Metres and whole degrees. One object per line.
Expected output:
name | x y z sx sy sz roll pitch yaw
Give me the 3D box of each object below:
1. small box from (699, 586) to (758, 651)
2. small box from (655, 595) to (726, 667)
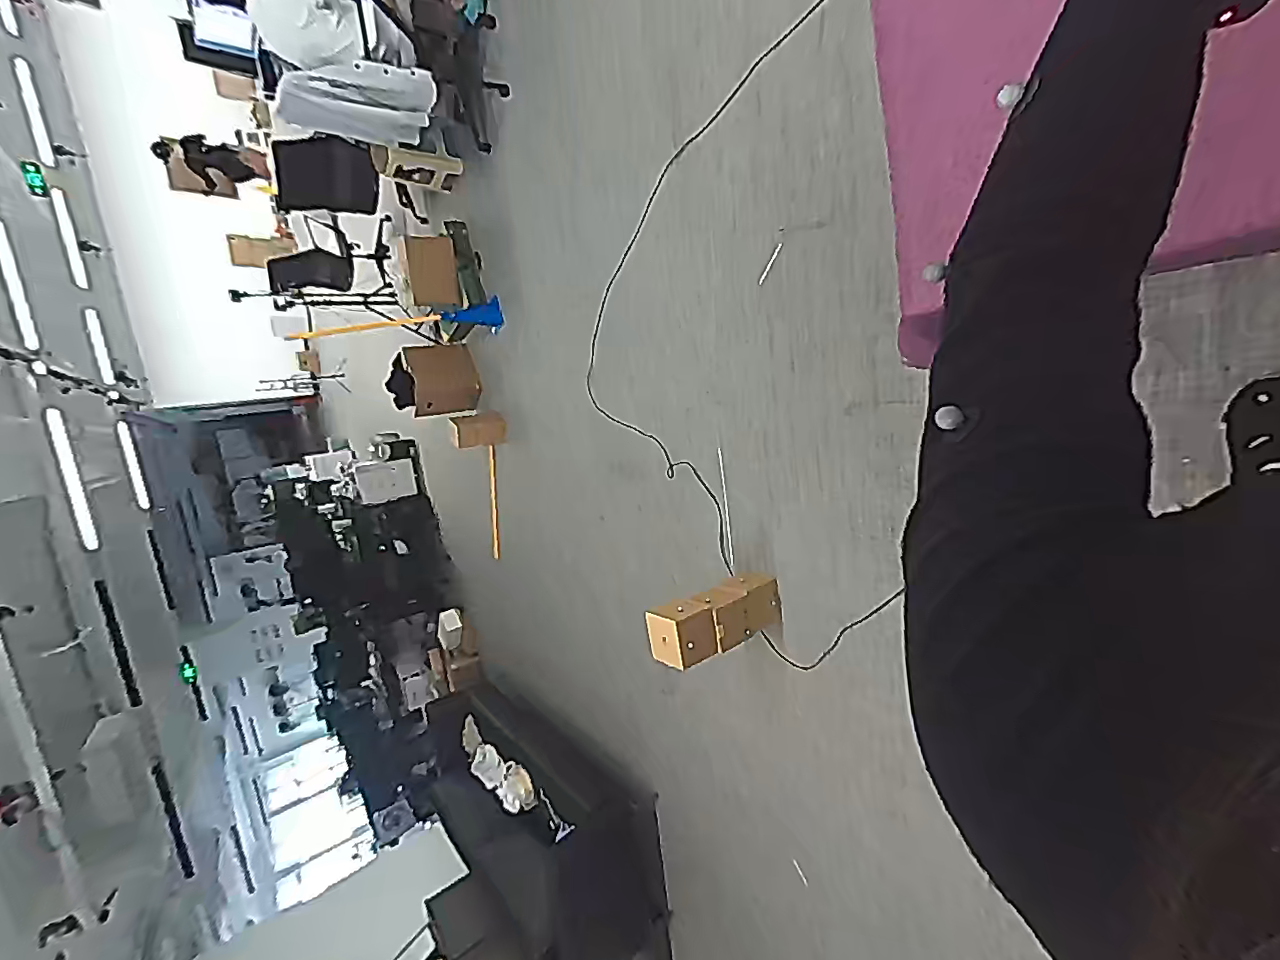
small box | 0.316 0.499 1.981 0.179 0.176 0.168 0 101 55
small box | 0.179 0.519 1.892 0.168 0.176 0.179 1 103 55
